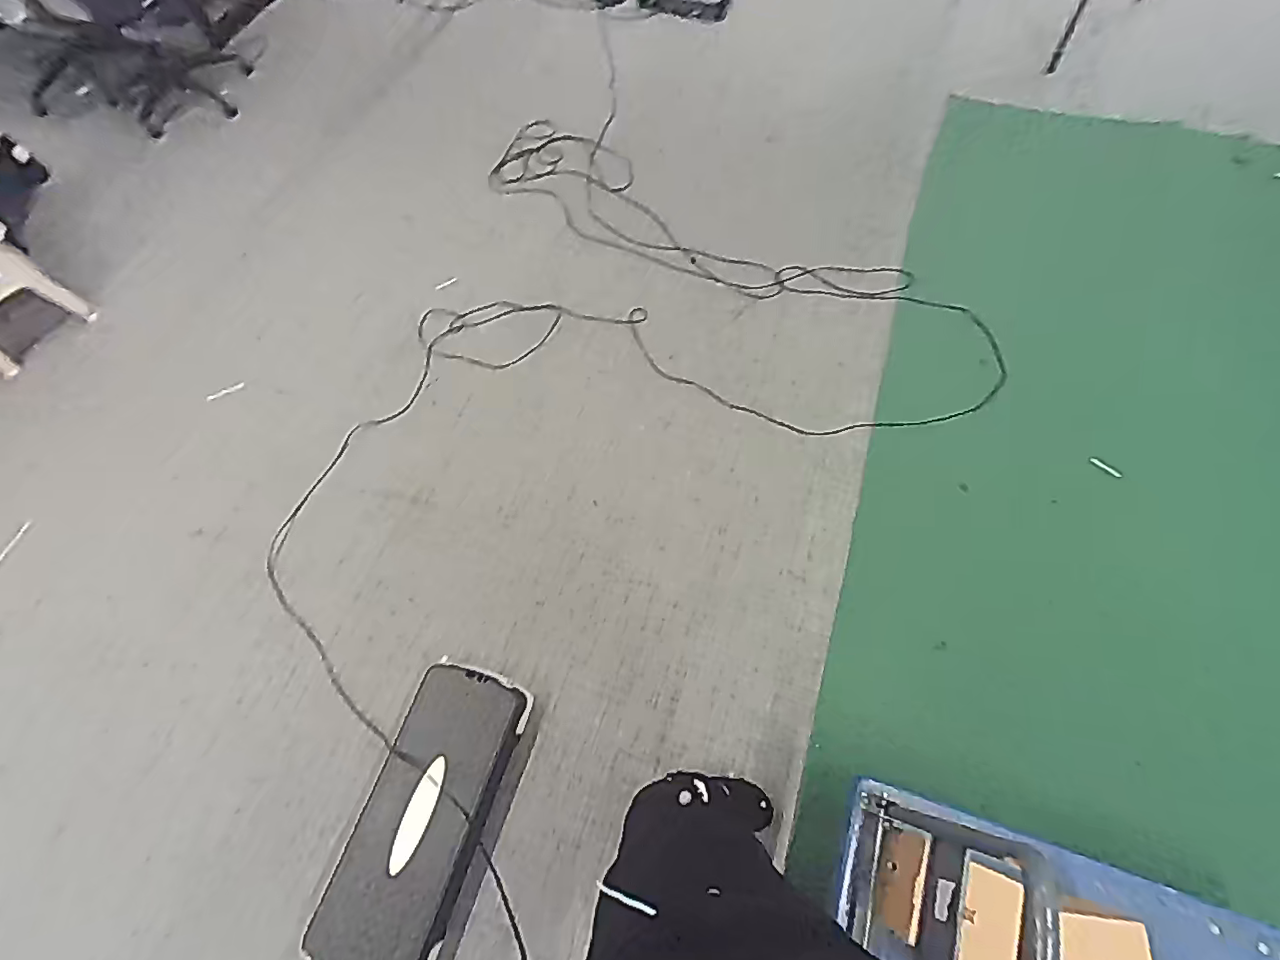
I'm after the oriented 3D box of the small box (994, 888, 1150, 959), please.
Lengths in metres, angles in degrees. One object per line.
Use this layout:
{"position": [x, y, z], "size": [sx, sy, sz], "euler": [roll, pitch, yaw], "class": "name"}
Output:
{"position": [0.766, 0.859, 0.967], "size": [0.179, 0.176, 0.168], "euler": [5, 66, 6], "class": "small box"}
